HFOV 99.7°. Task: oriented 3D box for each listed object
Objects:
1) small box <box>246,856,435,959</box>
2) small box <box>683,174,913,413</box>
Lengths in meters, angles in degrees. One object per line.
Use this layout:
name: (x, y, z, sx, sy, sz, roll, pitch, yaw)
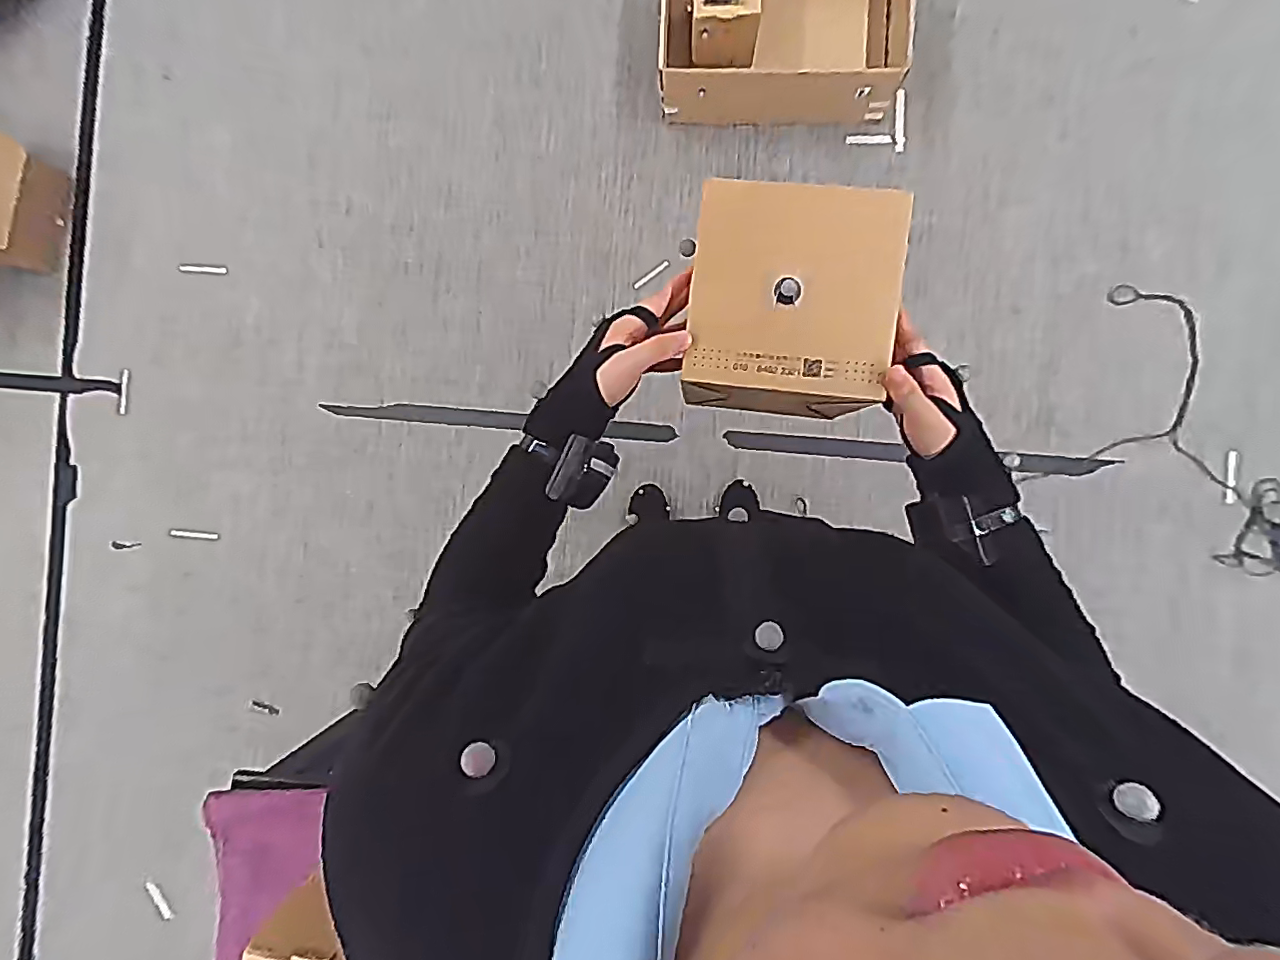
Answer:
small box: (-0.394, 0.657, 0.722, 0.168, 0.176, 0.179, 8, 91, 4)
small box: (0.134, -0.158, 0.511, 0.168, 0.179, 0.176, 8, 93, 6)
